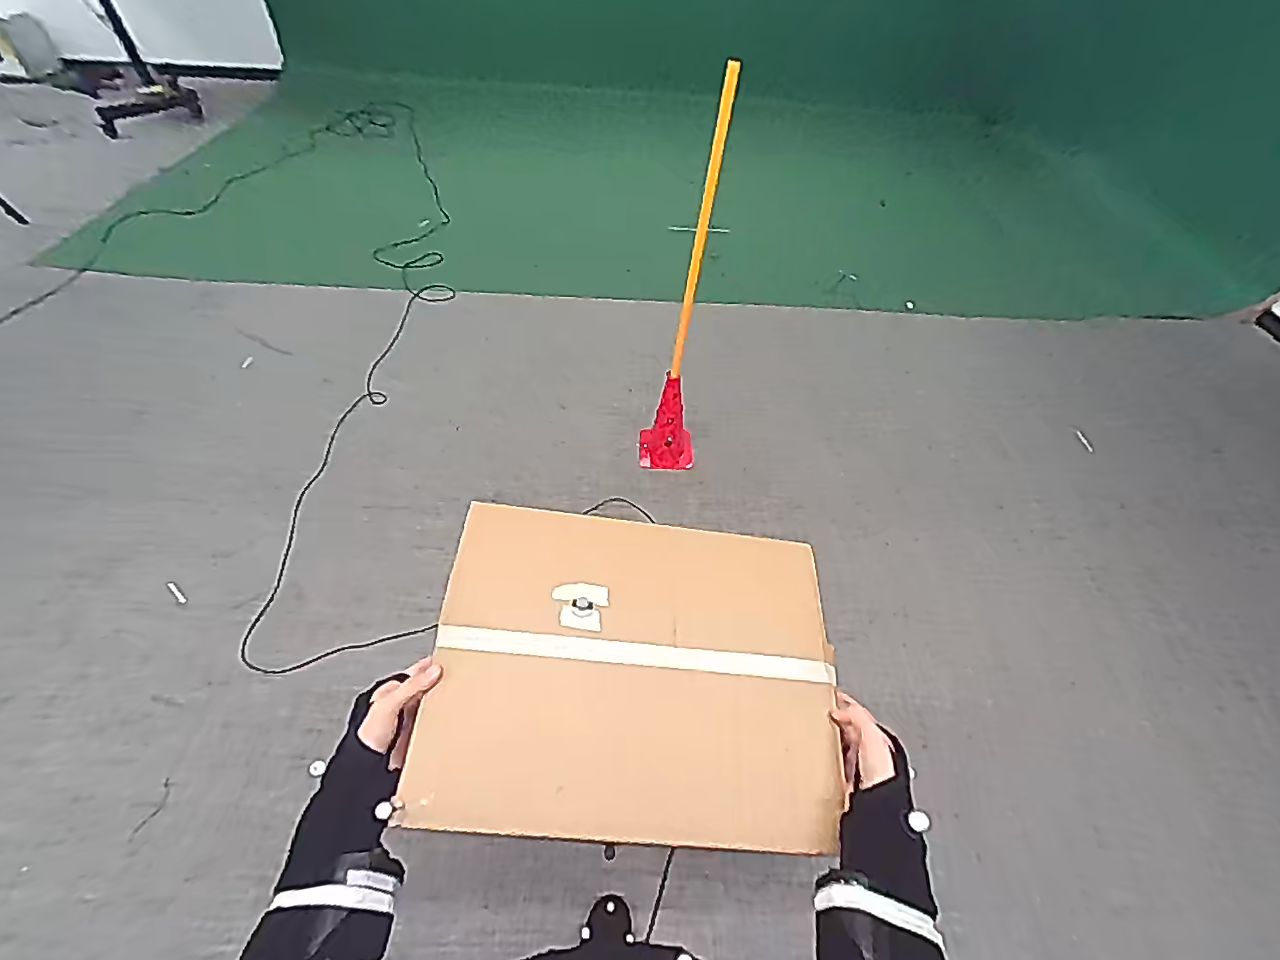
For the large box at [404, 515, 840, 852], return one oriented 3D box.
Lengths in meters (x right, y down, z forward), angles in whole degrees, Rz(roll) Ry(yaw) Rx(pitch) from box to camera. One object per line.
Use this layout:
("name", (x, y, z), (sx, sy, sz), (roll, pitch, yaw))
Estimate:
("large box", (-0.021, 0.268, 0.687), (0.408, 0.320, 0.320), (7, 56, -5))
